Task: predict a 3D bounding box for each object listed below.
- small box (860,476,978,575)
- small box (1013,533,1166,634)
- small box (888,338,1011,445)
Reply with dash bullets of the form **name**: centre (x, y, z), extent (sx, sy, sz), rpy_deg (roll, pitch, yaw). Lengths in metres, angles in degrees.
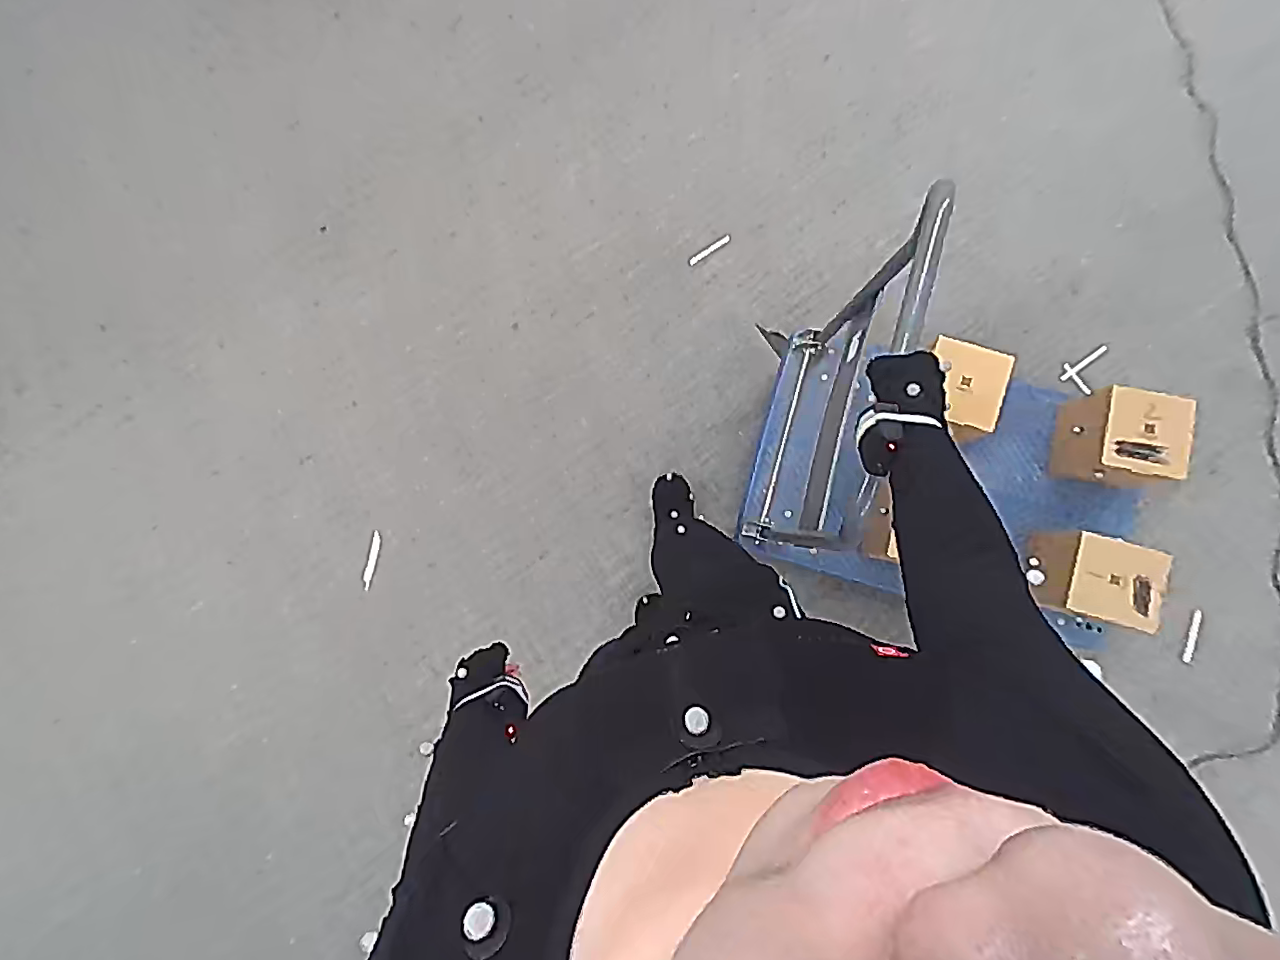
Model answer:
- **small box**: centre (0.613, 0.102, 1.208), extent (0.168, 0.176, 0.179), rpy_deg (14, 85, 5)
- **small box**: centre (0.966, 0.217, 1.175), extent (0.179, 0.176, 0.168), rpy_deg (17, 85, 6)
- **small box**: centre (0.697, -0.195, 1.237), extent (0.168, 0.176, 0.179), rpy_deg (19, 86, 5)
